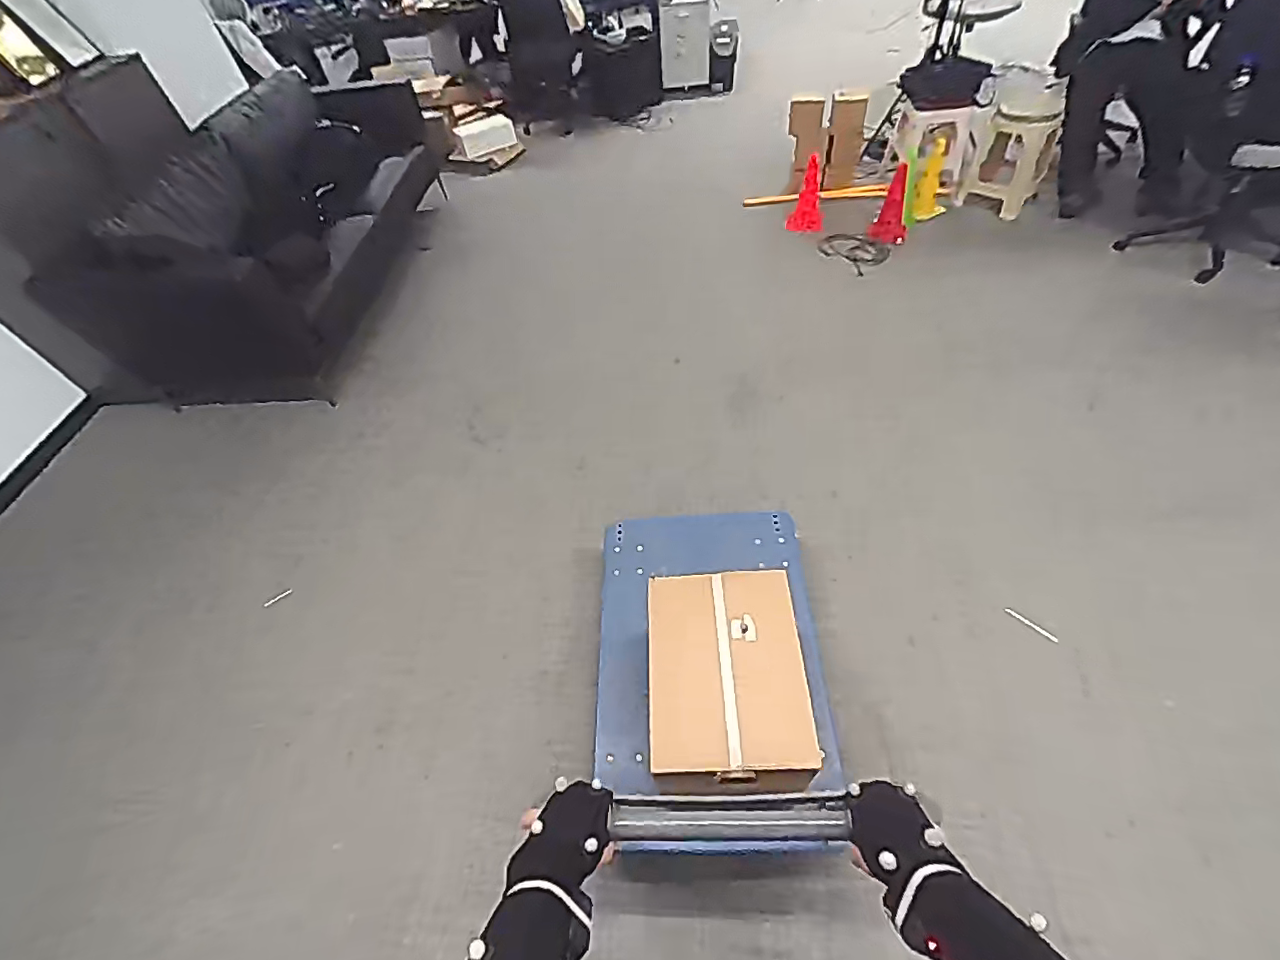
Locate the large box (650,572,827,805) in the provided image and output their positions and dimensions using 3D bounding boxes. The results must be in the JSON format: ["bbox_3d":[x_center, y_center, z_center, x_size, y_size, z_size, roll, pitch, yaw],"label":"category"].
[{"bbox_3d":[0.197,0.466,1.206,0.320,0.320,0.408,-4,50,5],"label":"large box"}]
